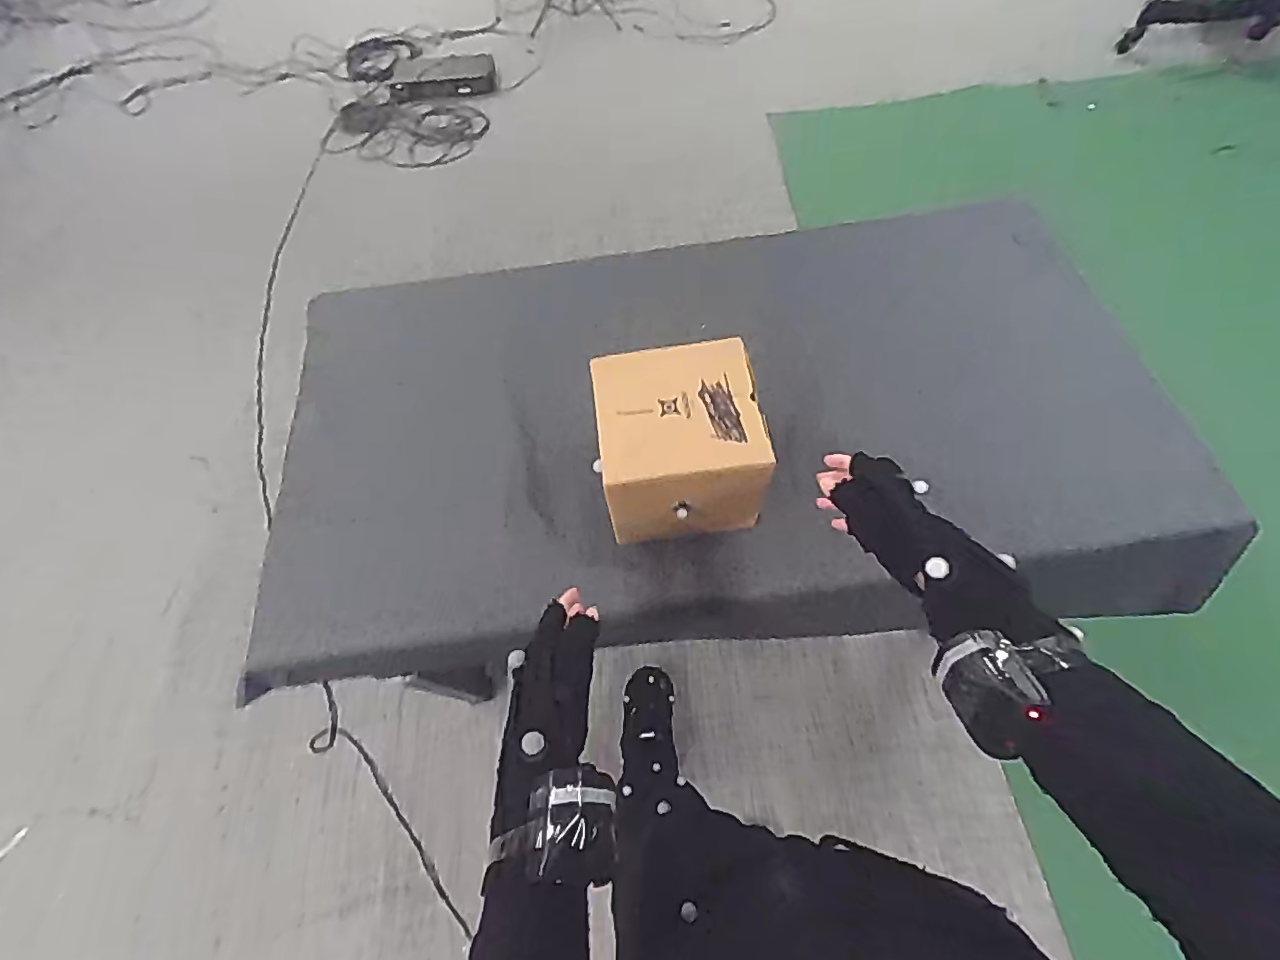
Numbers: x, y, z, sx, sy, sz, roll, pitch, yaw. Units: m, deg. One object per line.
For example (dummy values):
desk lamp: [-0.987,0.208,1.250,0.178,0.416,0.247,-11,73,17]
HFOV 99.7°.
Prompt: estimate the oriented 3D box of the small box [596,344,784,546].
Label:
small box: [0.050,-0.035,0.647,0.179,0.176,0.168,-10,63,-3]
